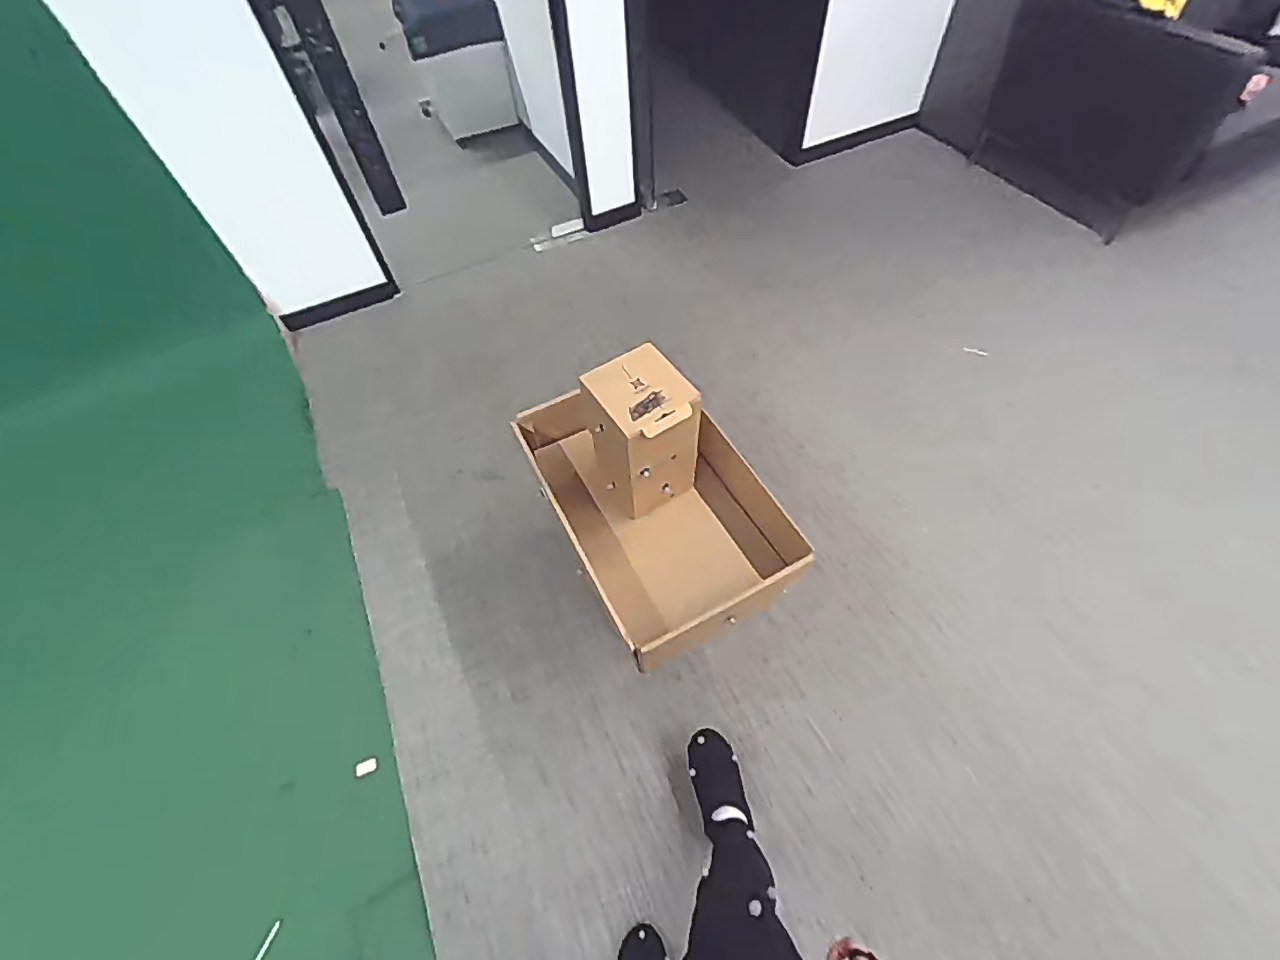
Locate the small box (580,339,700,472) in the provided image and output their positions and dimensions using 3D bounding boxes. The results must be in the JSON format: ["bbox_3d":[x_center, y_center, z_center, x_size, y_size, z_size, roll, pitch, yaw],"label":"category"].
[{"bbox_3d":[0.001,-0.138,1.071,0.168,0.176,0.179,-29,62,-16],"label":"small box"}]

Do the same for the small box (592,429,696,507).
[{"bbox_3d":[0.008,-0.060,1.216,0.168,0.176,0.179,-27,63,-15],"label":"small box"}]
